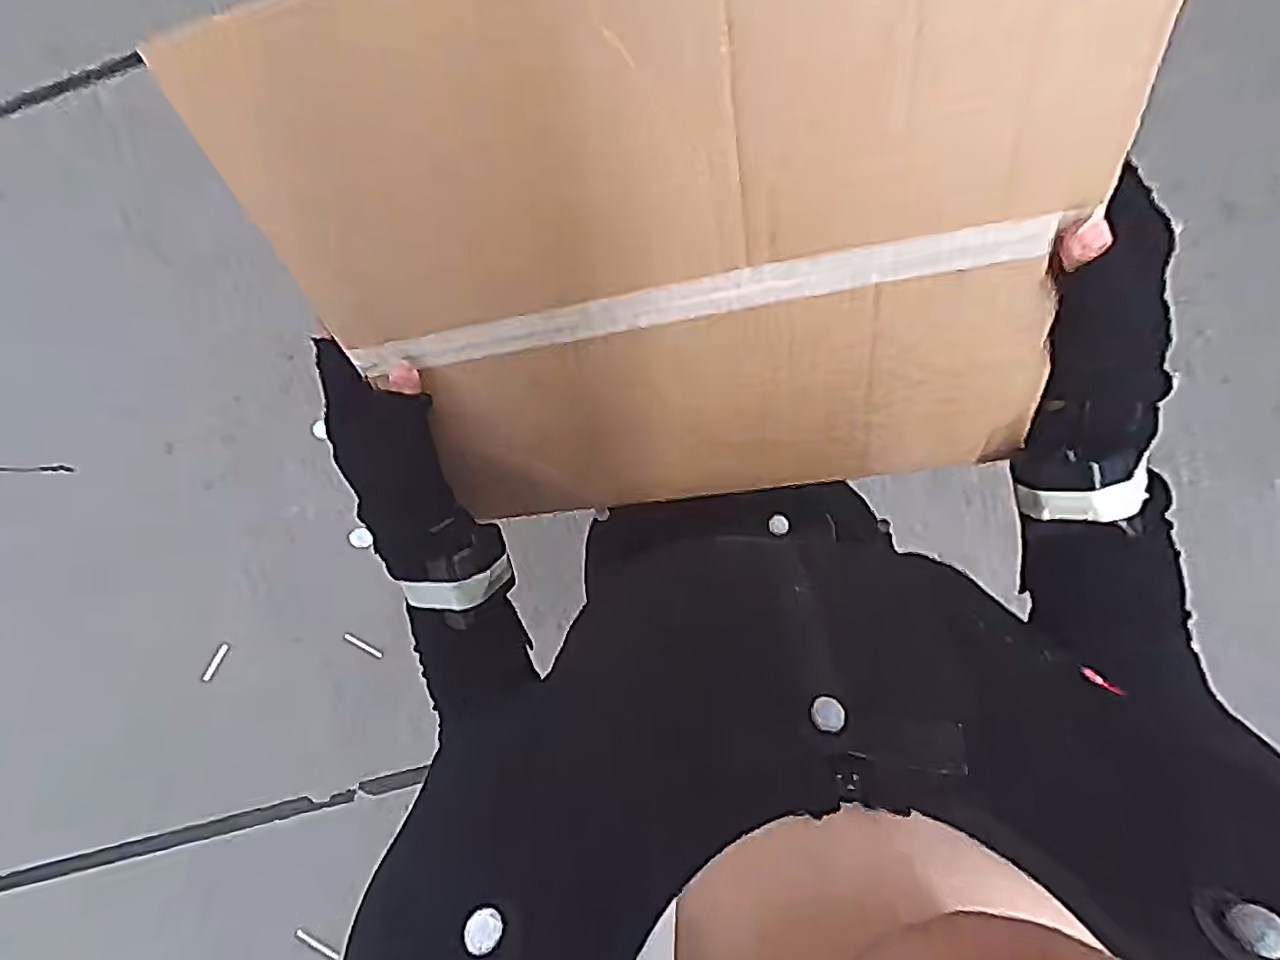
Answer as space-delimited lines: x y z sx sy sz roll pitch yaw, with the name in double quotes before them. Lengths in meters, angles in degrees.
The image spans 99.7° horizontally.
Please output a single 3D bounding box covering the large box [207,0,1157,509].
"large box" 0.032 -0.211 0.411 0.408 0.320 0.320 -7 136 11
